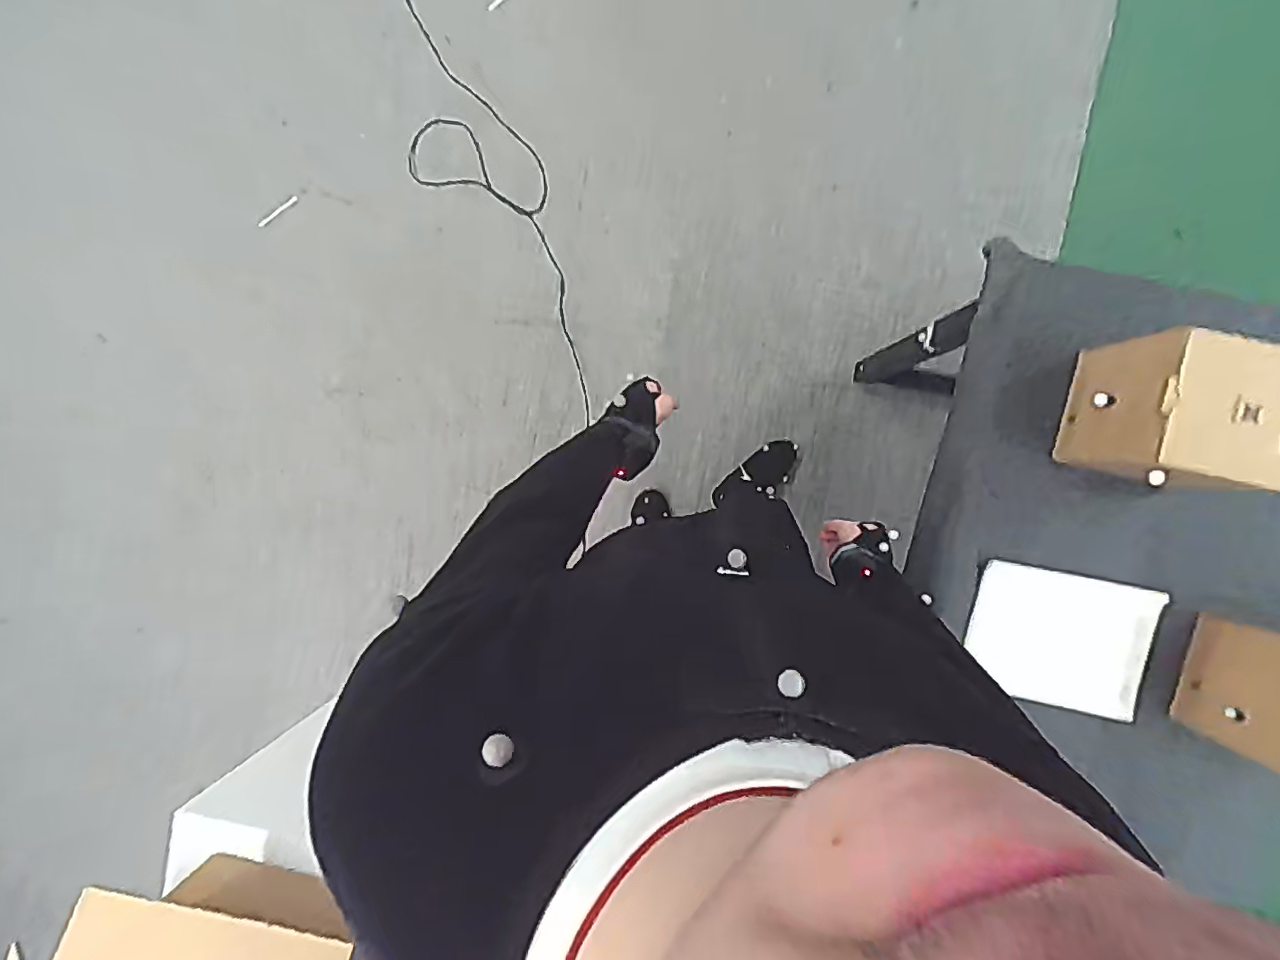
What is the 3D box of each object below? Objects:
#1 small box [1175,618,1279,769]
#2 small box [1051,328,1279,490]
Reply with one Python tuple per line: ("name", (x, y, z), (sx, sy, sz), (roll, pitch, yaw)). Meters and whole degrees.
("small box", (0.892, 0.299, 0.723), (0.179, 0.176, 0.168), (13, 94, 1))
("small box", (0.708, -0.089, 0.726), (0.179, 0.176, 0.168), (13, 94, 1))
